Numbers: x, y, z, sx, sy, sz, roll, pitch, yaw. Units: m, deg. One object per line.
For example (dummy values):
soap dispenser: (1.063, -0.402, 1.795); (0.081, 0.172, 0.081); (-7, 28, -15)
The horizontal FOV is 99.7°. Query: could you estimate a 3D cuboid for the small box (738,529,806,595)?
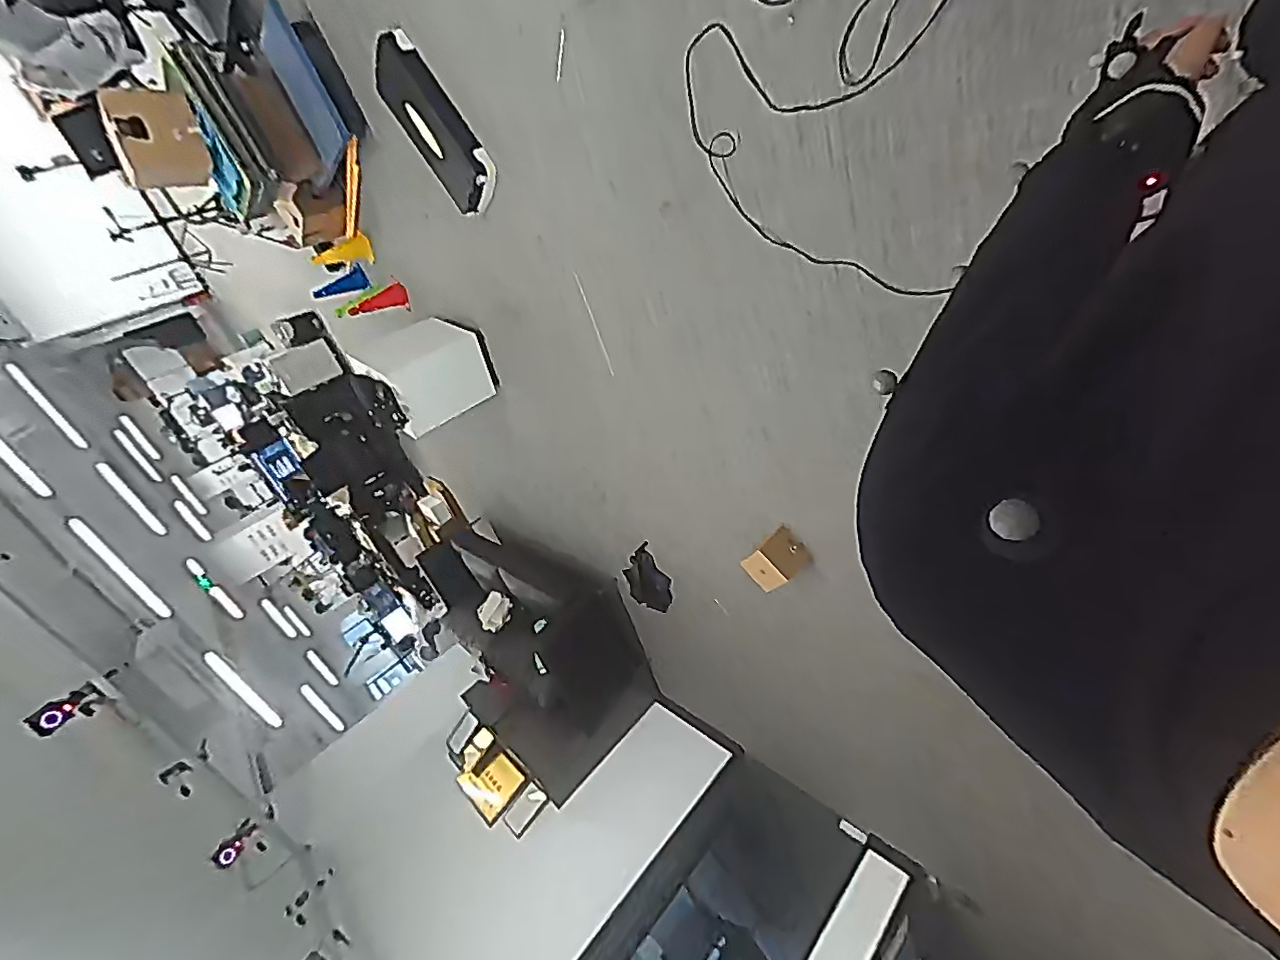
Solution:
small box: (0.536, 0.329, 2.177); (0.168, 0.176, 0.179); (46, 149, 8)
